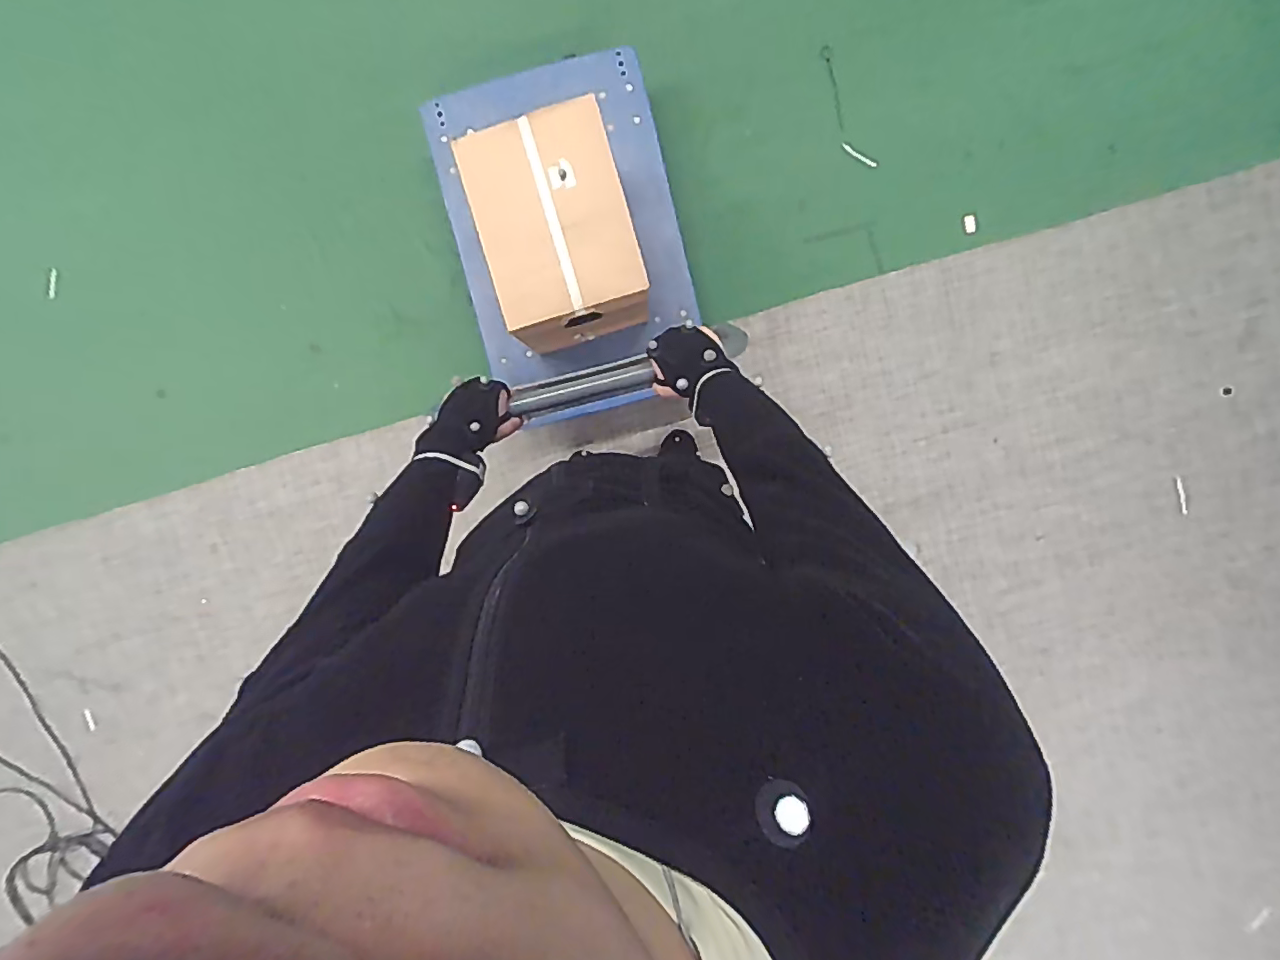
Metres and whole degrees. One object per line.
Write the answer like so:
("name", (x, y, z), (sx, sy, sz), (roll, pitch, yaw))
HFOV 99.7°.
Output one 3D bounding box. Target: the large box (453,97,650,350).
("large box", (-0.179, -0.561, 1.268), (0.320, 0.320, 0.408), (-16, 94, 2))
